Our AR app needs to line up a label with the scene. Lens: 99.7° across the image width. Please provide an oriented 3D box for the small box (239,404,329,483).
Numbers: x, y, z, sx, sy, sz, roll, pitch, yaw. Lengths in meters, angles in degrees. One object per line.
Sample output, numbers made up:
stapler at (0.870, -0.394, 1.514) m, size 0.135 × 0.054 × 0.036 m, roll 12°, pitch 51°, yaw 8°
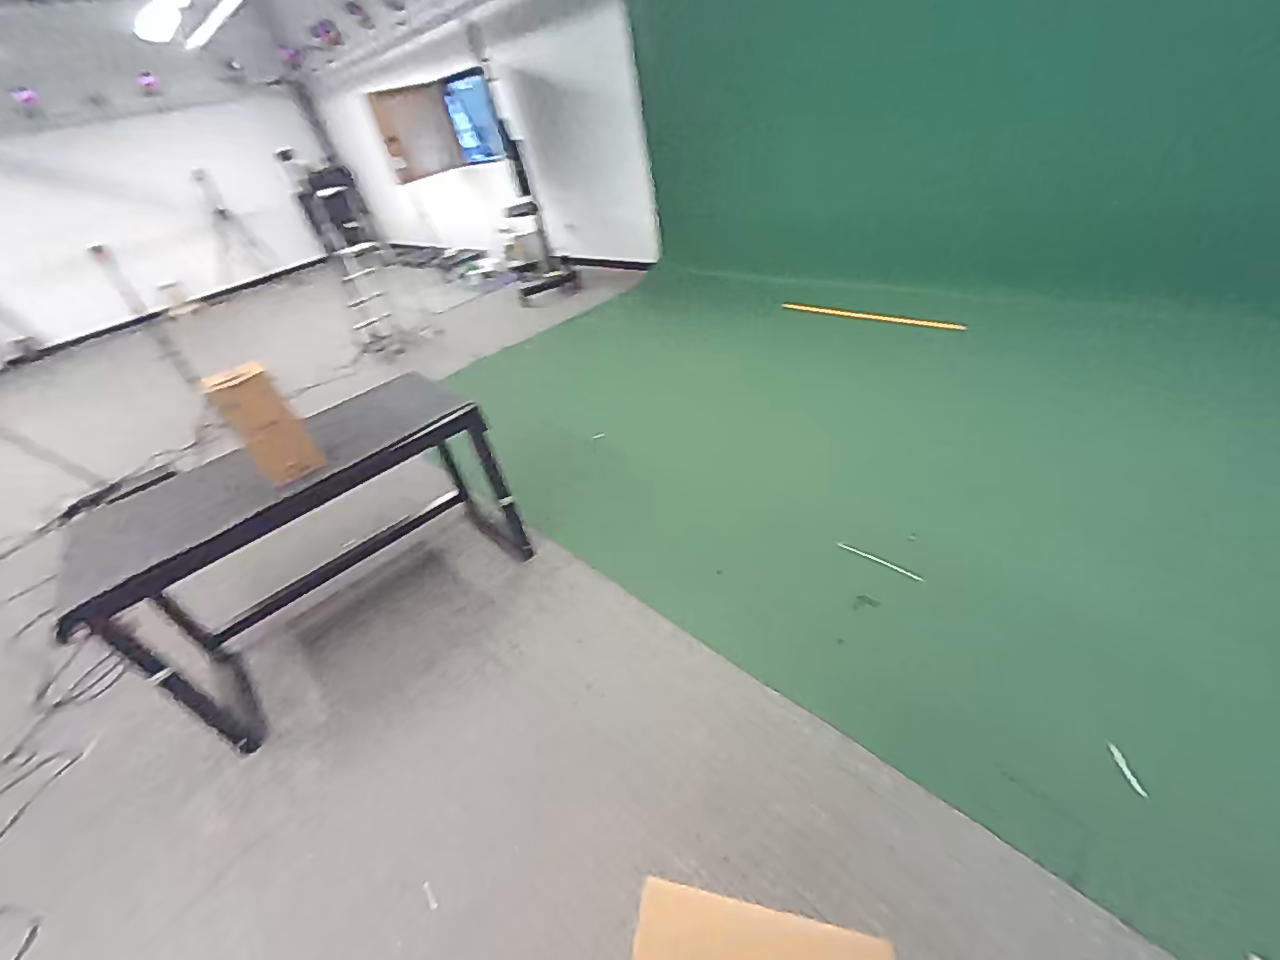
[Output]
small box at (-1.122, -0.114, 1.707) m, size 0.168 × 0.176 × 0.179 m, roll -34°, pitch 40°, yaw -26°
